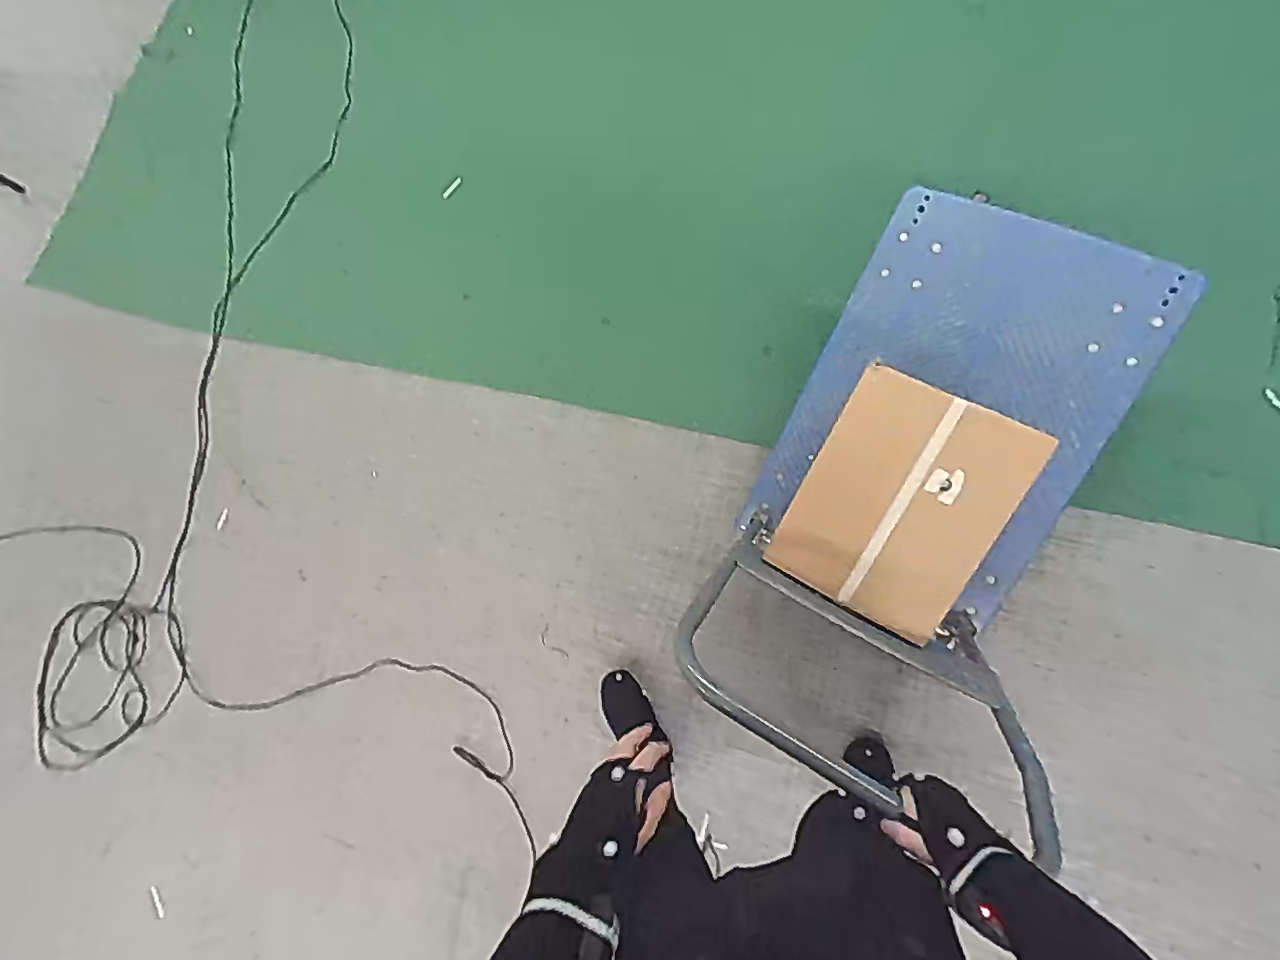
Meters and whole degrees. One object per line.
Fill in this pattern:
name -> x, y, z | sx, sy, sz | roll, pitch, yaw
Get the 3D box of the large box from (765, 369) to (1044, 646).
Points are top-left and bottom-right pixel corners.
large box -> 0.493, 0.043, 1.086 | 0.320, 0.320, 0.408 | 29, 102, 15
